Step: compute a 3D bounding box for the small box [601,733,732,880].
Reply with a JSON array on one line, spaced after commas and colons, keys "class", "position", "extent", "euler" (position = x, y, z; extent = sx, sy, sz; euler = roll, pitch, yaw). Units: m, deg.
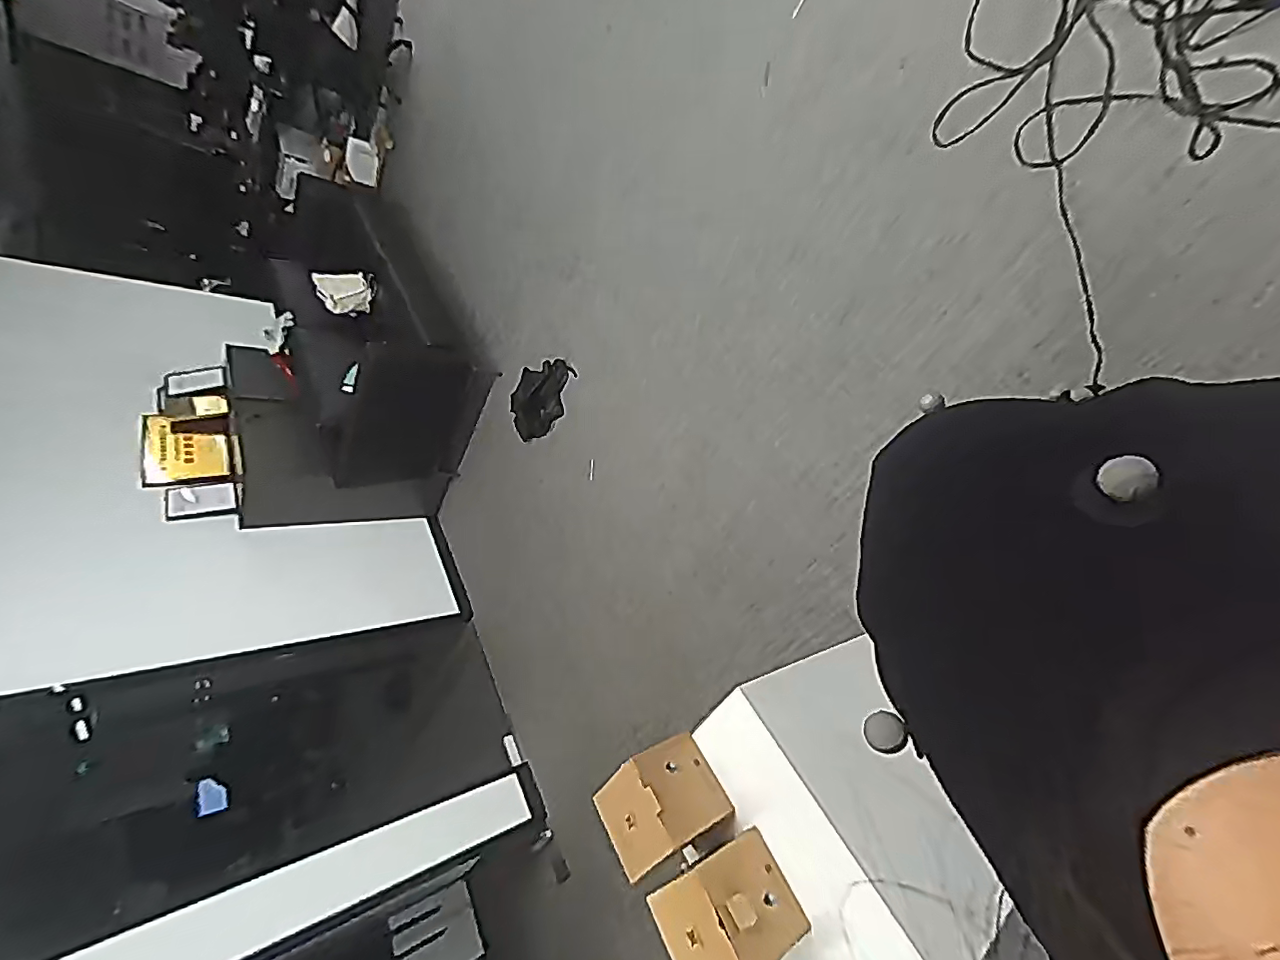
[{"class": "small box", "position": [0.056, 0.635, 1.068], "extent": [0.168, 0.176, 0.179], "euler": [54, 129, 34]}]
